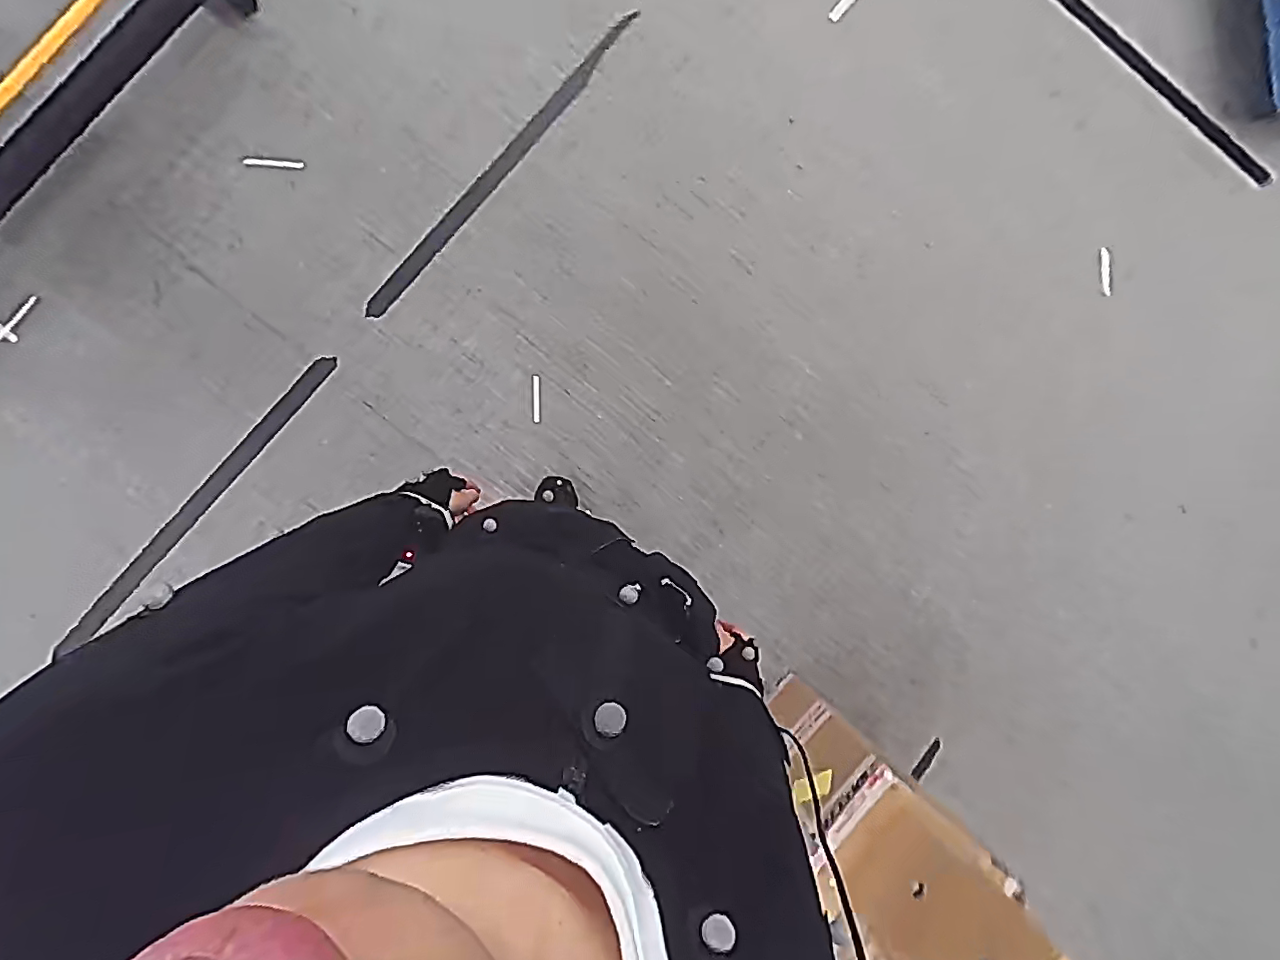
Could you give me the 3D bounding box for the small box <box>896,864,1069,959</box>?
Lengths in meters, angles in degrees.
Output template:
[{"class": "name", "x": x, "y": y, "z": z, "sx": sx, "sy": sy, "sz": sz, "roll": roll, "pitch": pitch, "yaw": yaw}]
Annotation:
[{"class": "small box", "x": 0.453, "y": 0.643, "z": 0.670, "sx": 0.179, "sy": 0.176, "sz": 0.168, "roll": -43, "pitch": 89, "yaw": -5}]
